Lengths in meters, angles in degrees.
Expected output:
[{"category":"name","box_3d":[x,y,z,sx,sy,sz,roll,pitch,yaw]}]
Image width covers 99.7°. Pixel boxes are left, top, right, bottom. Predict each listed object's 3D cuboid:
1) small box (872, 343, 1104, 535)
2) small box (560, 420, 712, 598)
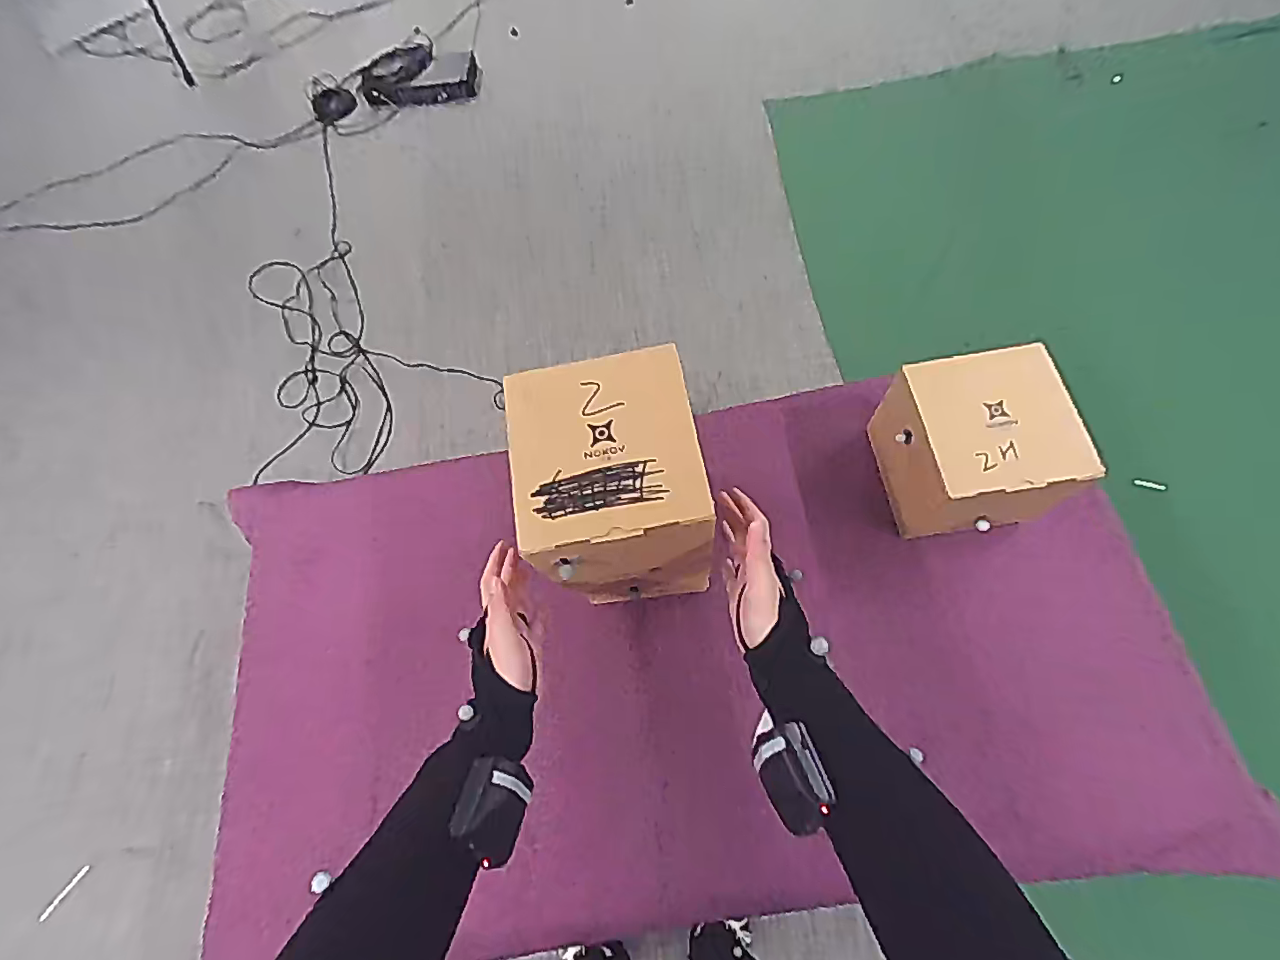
[{"category":"small box","box_3d":[0.415,-0.043,0.684,0.168,0.176,0.179,-9,69,5]},{"category":"small box","box_3d":[-0.004,0.044,0.695,0.168,0.176,0.179,-7,69,2]}]
